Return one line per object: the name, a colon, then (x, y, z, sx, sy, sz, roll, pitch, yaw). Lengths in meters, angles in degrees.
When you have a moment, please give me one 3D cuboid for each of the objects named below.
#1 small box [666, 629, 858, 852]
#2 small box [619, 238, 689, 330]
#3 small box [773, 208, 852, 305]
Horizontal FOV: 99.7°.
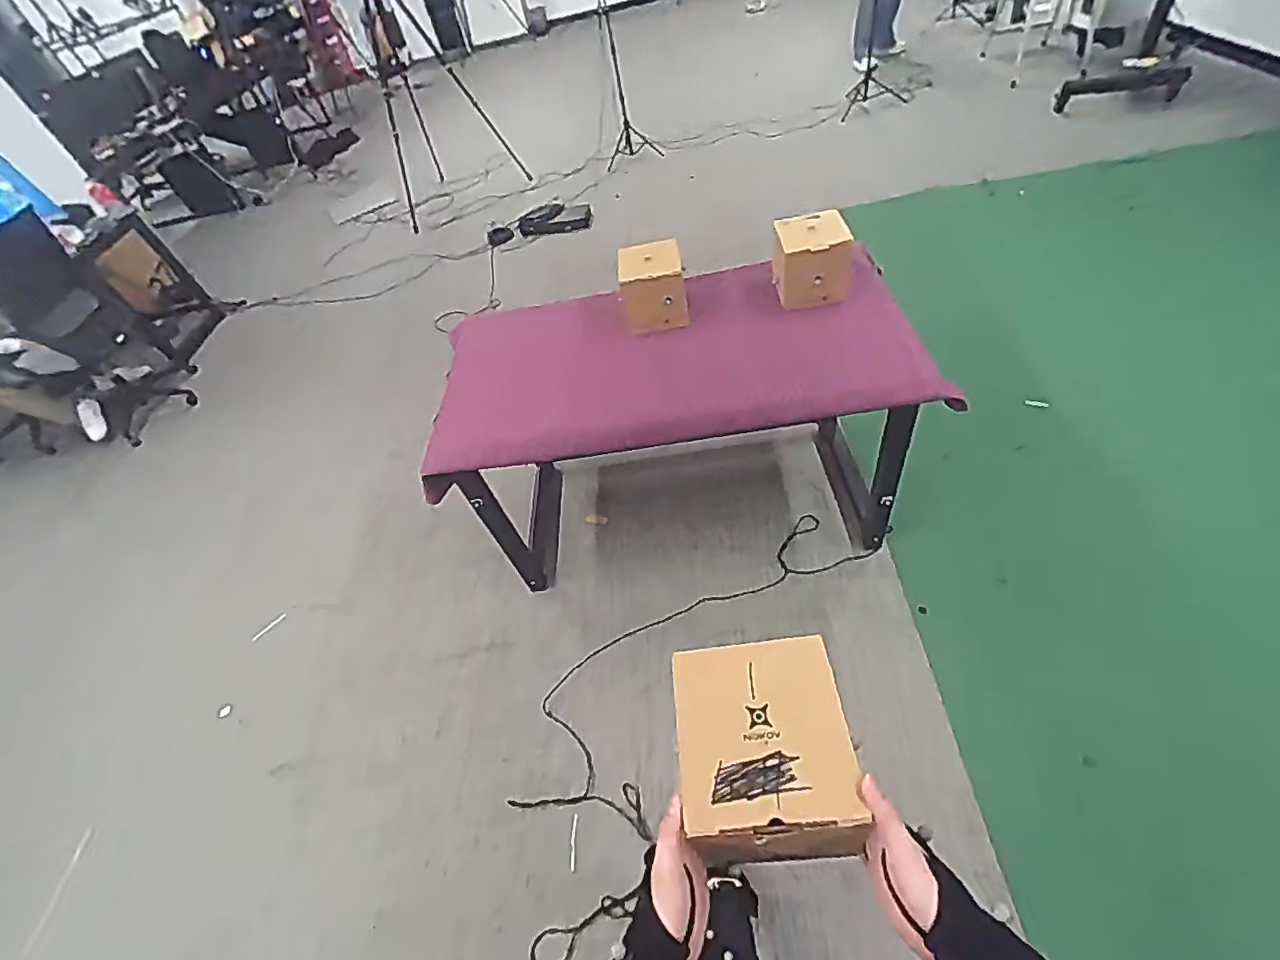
small box: (0.127, 0.289, 0.589, 0.168, 0.176, 0.179, -10, 45, 8)
small box: (0.038, -0.530, 1.485, 0.168, 0.176, 0.179, -8, 50, 7)
small box: (0.447, -0.579, 1.421, 0.168, 0.176, 0.179, -8, 51, 8)
